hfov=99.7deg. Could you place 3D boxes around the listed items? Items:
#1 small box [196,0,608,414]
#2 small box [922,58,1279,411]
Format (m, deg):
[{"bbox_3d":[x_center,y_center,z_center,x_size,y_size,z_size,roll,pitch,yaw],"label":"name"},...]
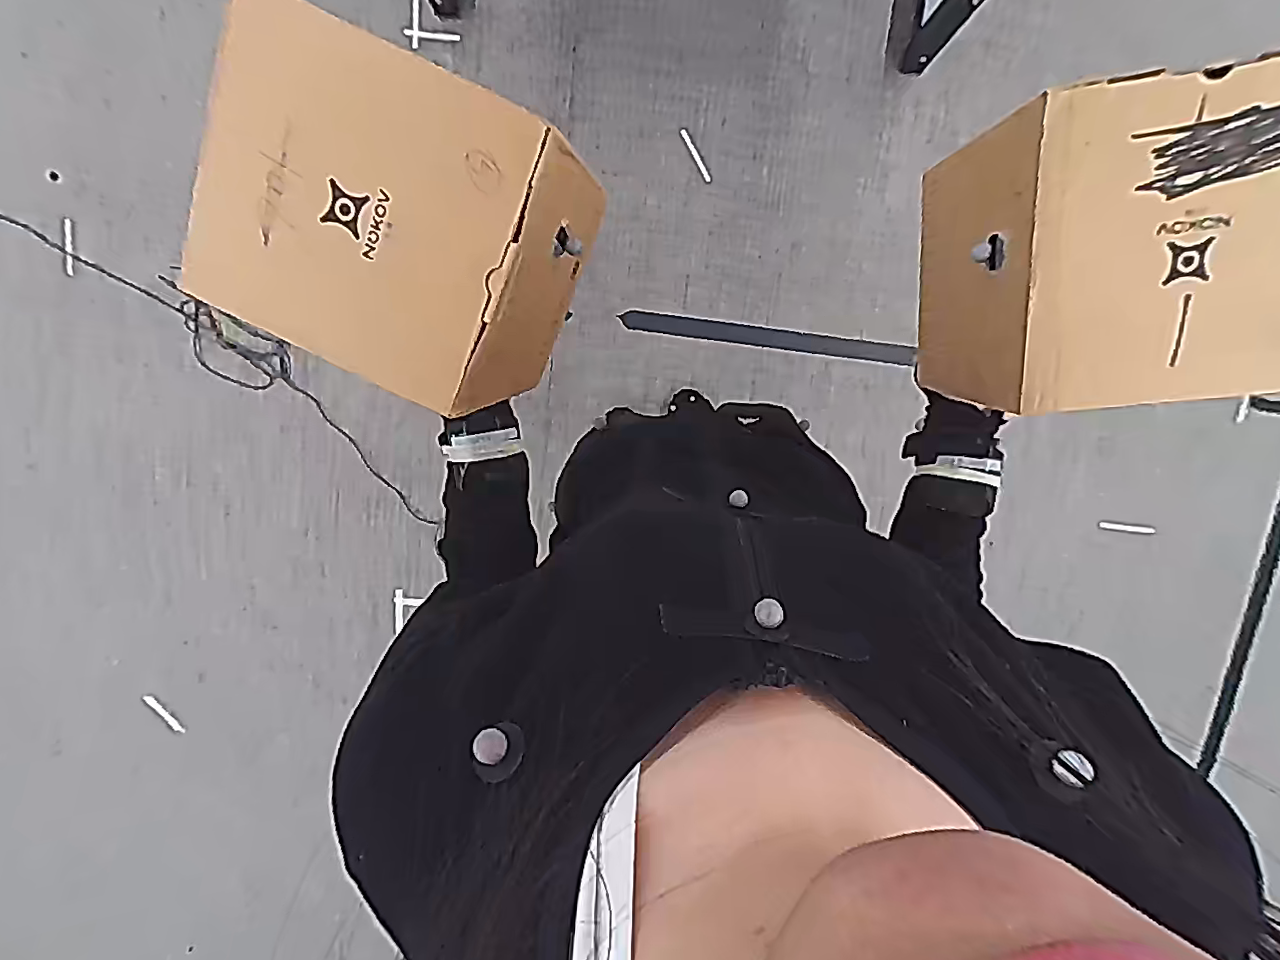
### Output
[{"bbox_3d":[-0.137,-0.165,0.368,0.179,0.176,0.168,26,106,0],"label":"small box"},{"bbox_3d":[0.315,-0.151,0.379,0.168,0.176,0.179,-4,105,8],"label":"small box"}]
